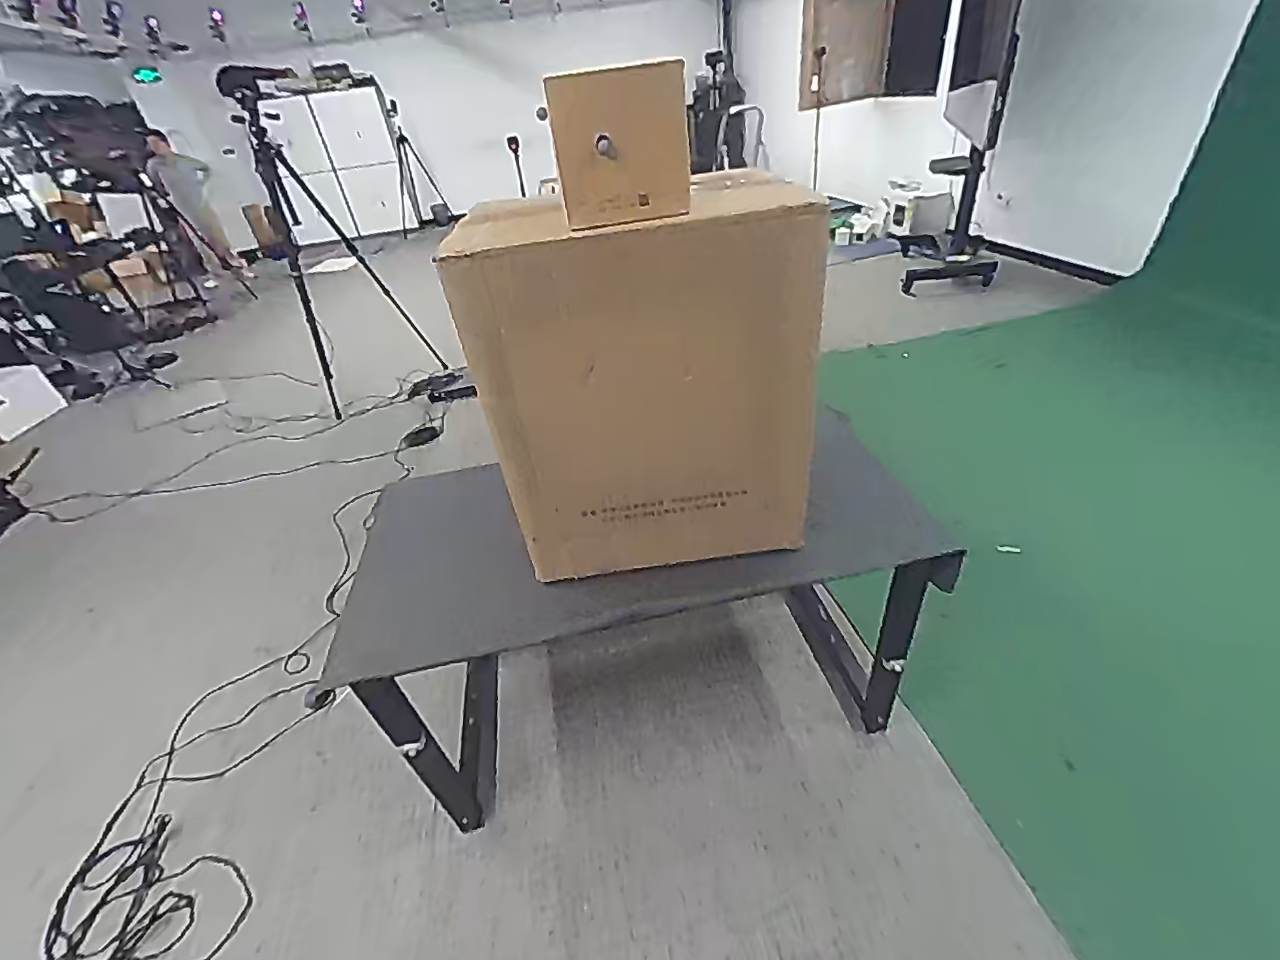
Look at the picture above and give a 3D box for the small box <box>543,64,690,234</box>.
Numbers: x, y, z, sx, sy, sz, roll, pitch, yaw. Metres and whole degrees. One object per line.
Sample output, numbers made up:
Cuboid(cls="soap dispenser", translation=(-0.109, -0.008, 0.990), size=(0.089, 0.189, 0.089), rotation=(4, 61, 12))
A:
Cuboid(cls="small box", translation=(-0.029, -0.443, 0.731), size=(0.168, 0.176, 0.179), rotation=(-9, 38, -1))
